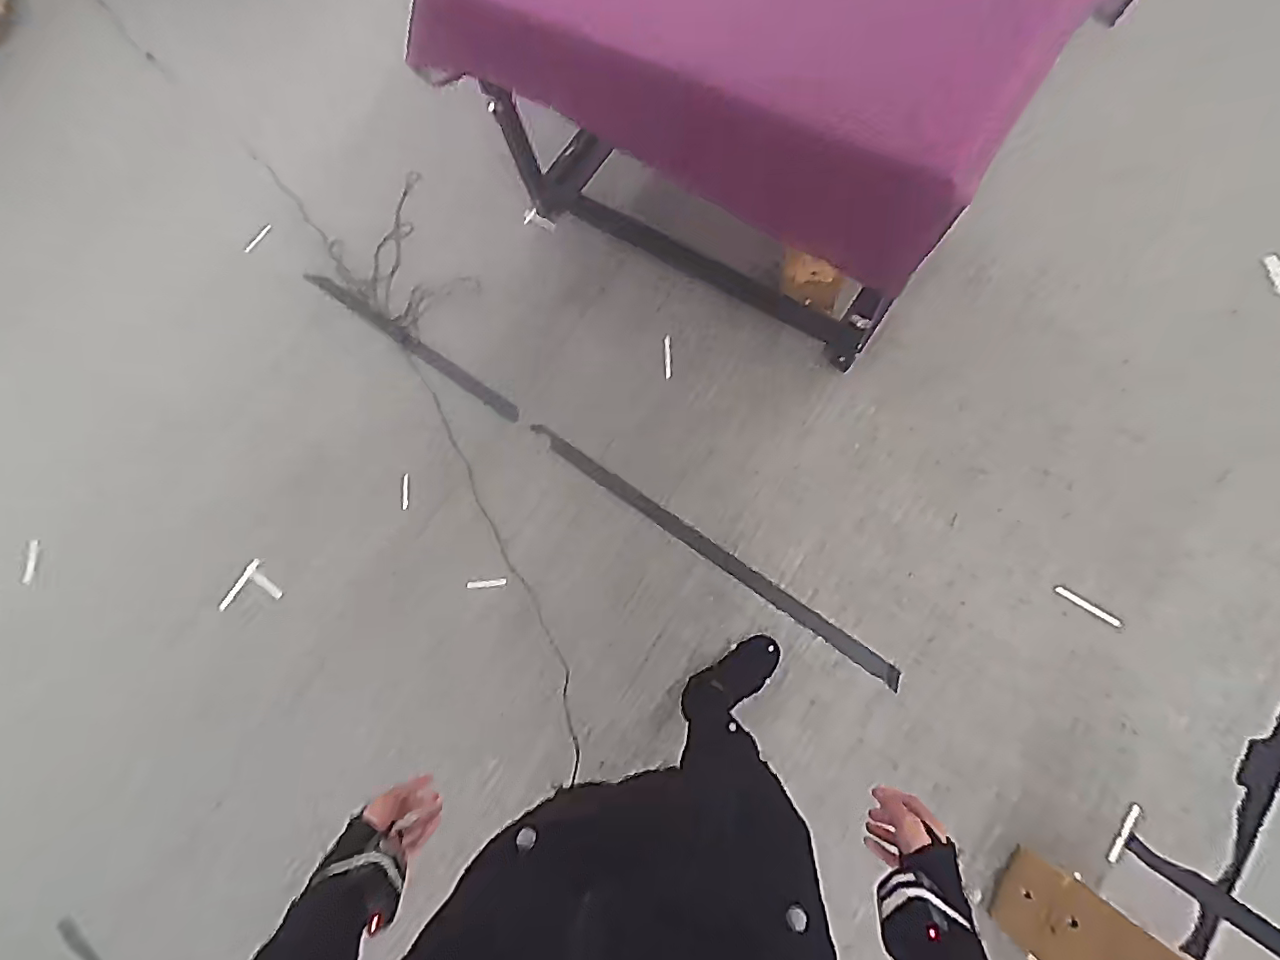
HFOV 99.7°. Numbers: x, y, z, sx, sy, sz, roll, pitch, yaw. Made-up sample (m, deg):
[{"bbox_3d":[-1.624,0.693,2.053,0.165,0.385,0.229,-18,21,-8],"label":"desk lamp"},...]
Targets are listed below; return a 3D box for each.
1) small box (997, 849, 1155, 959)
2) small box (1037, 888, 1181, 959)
[{"bbox_3d":[0.873,0.914,1.106,0.168,0.176,0.179,31,82,15],"label":"small box"},{"bbox_3d":[0.860,0.877,0.947,0.179,0.176,0.168,36,84,17],"label":"small box"}]
